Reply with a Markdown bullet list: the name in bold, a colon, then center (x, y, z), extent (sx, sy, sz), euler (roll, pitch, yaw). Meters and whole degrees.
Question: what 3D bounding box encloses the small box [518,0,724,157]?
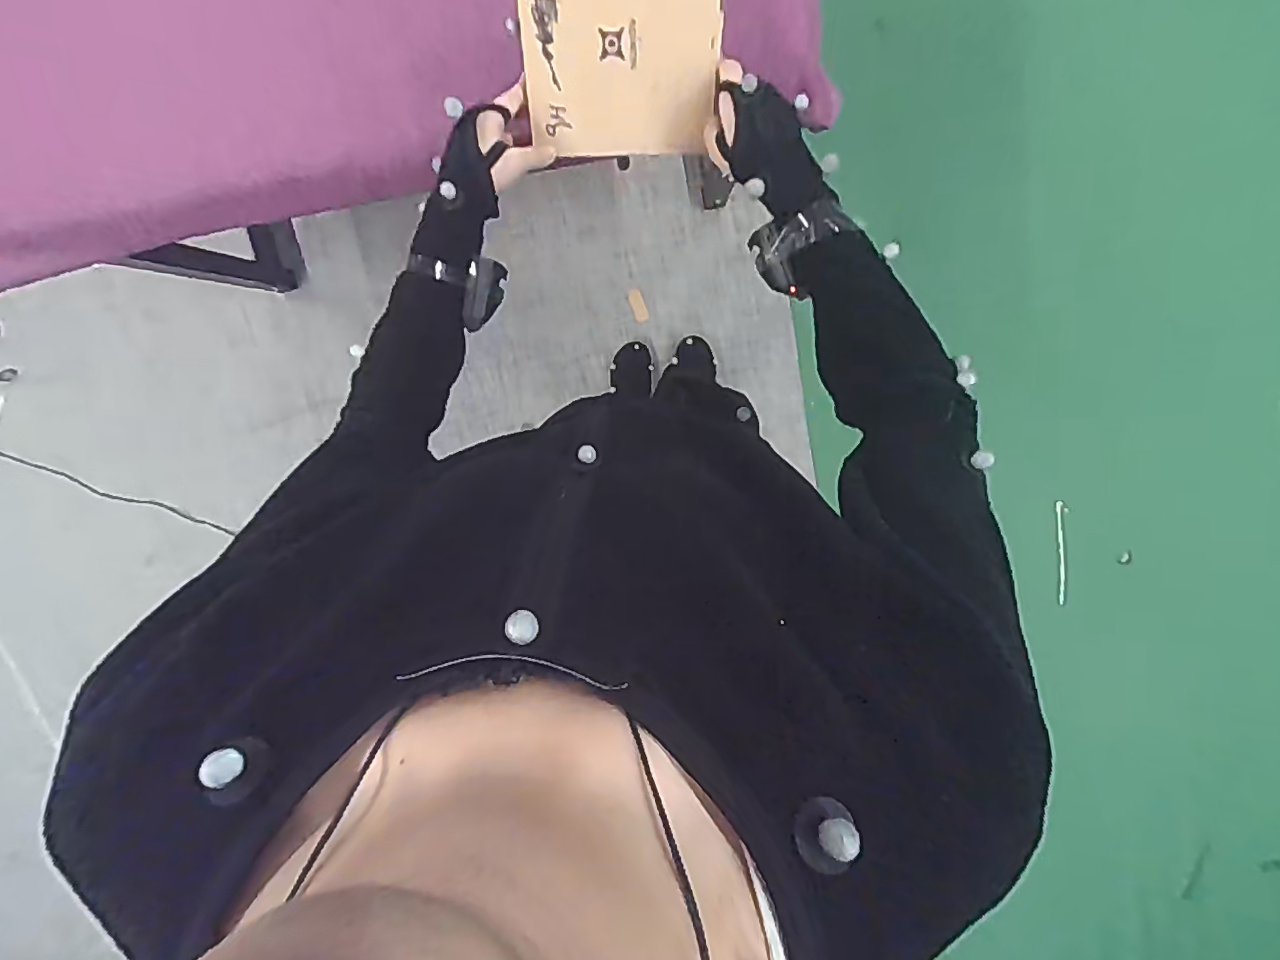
- **small box**: center (-0.019, -0.419, 0.536), extent (0.179, 0.176, 0.168), euler (-2, 121, -2)
